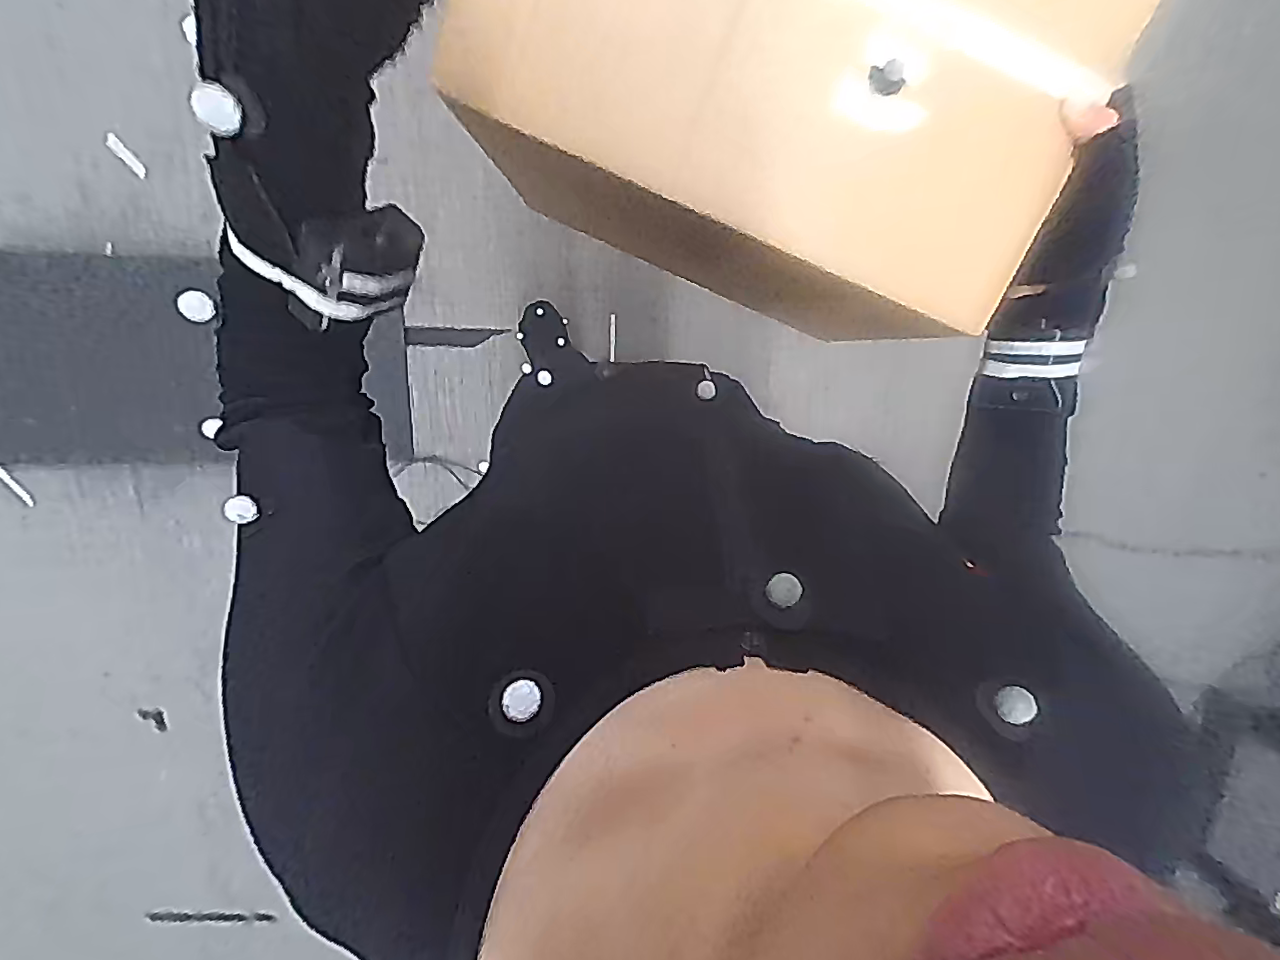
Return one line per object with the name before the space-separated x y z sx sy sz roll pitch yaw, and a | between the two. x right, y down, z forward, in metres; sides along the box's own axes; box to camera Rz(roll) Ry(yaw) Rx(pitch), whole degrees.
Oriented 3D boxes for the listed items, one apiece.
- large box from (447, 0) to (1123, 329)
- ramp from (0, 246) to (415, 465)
large box | 0.102 -0.360 0.491 0.408 0.320 0.320 21 103 -6
ramp | -1.091 -0.288 1.308 0.991 0.206 0.509 -1 101 -2
